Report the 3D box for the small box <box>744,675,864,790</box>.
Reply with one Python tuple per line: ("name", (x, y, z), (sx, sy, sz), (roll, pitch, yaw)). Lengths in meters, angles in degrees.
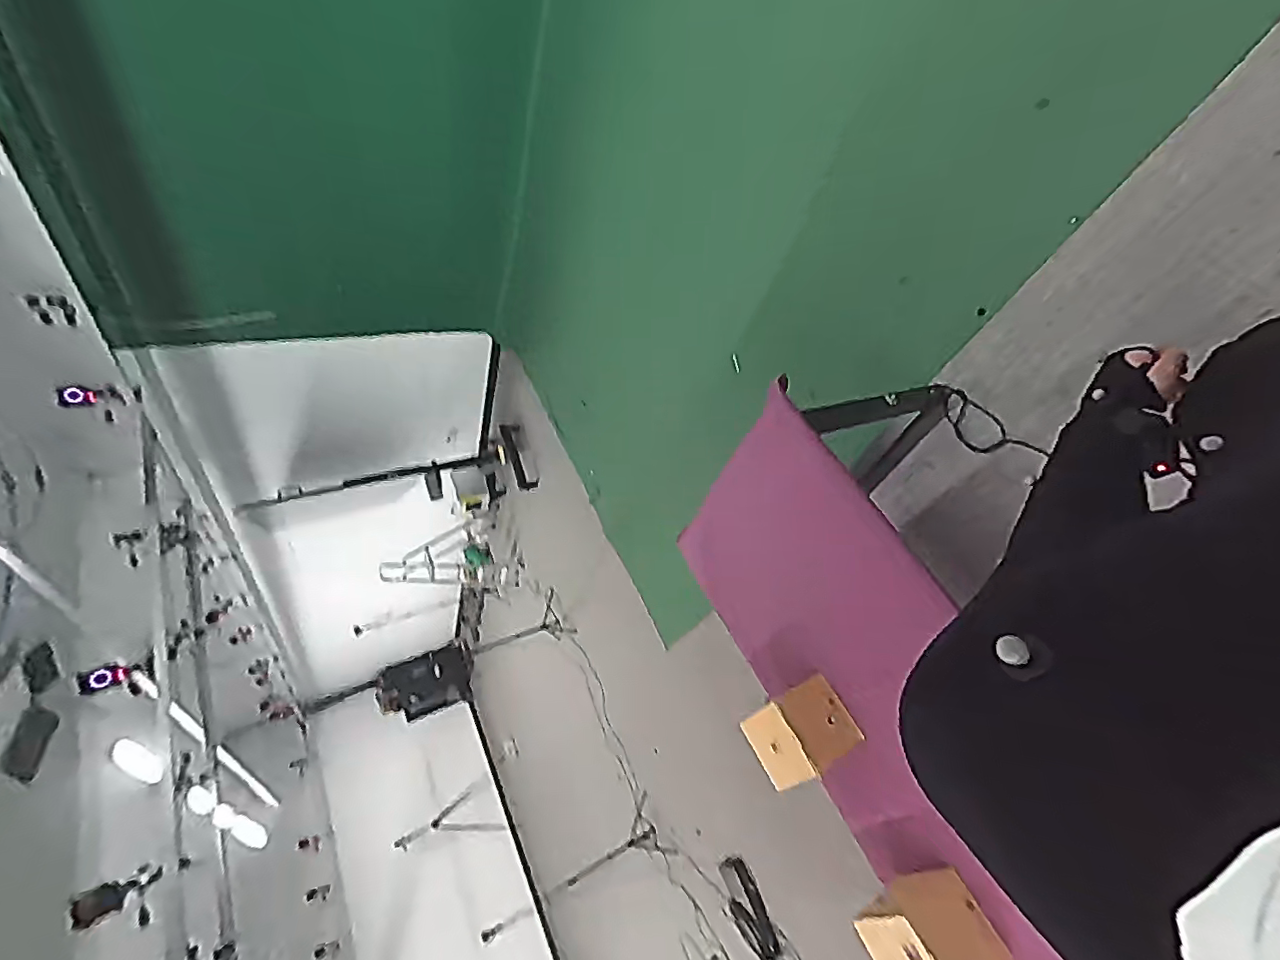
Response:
("small box", (0.382, 0.587, 1.263), (0.168, 0.176, 0.179), (58, 143, 28))
